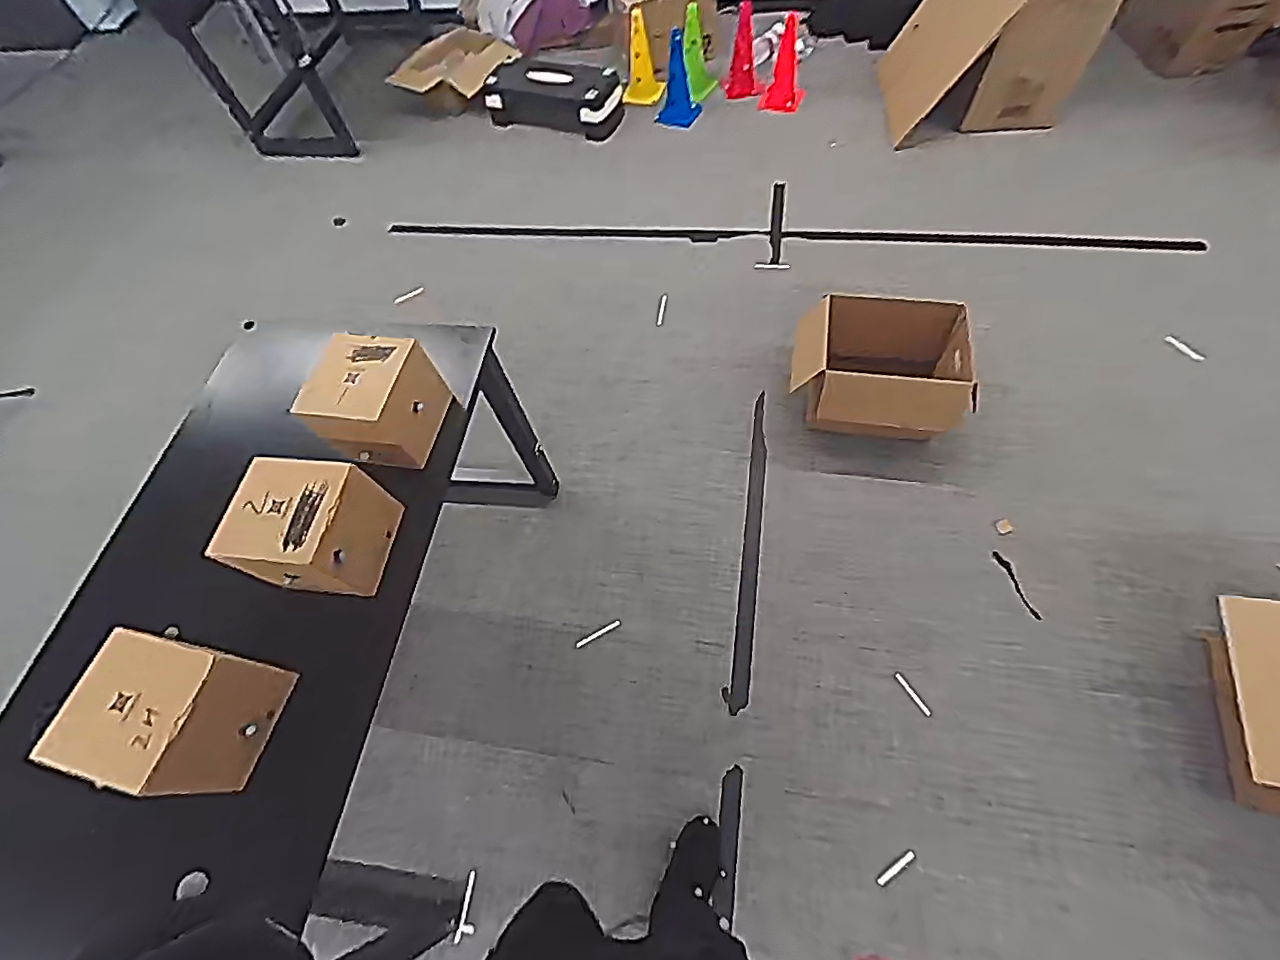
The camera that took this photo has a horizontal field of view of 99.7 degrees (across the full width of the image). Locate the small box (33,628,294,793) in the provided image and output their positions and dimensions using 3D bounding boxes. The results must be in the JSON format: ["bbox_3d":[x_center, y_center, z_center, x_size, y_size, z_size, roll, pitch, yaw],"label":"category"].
[{"bbox_3d":[-0.644,0.323,0.757,0.179,0.176,0.168,10,64,11],"label":"small box"}]

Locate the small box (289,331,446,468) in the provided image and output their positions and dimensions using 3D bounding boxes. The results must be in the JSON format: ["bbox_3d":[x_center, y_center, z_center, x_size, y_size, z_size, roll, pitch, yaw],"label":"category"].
[{"bbox_3d":[-0.477,-0.143,0.983,0.168,0.176,0.179,6,65,10],"label":"small box"}]
